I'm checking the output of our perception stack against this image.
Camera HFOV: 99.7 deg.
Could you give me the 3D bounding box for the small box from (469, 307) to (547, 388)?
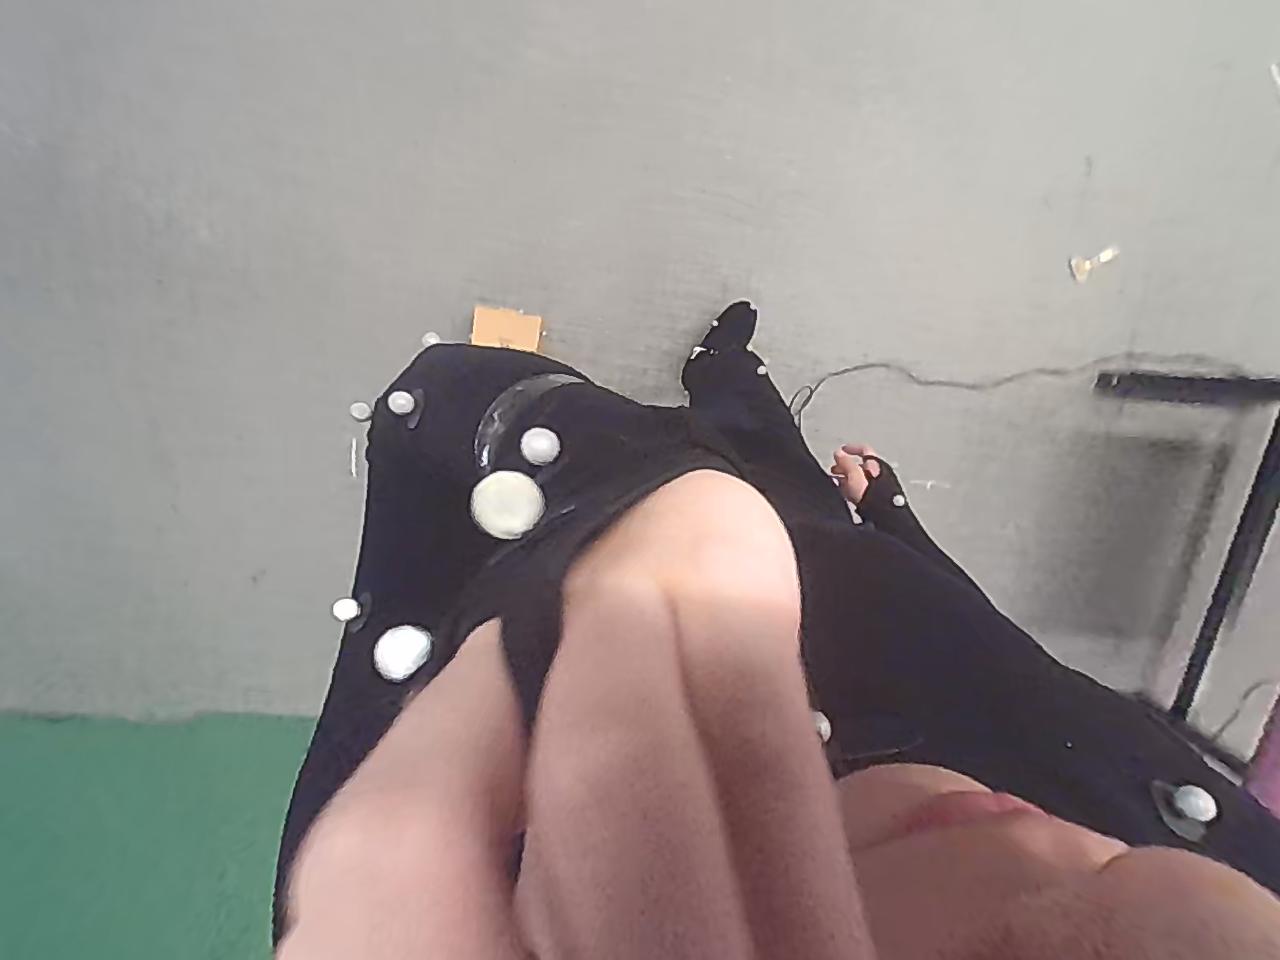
[{"bbox_3d":[-0.344,-0.348,1.431,0.168,0.176,0.179,8,102,-5],"label":"small box"}]
